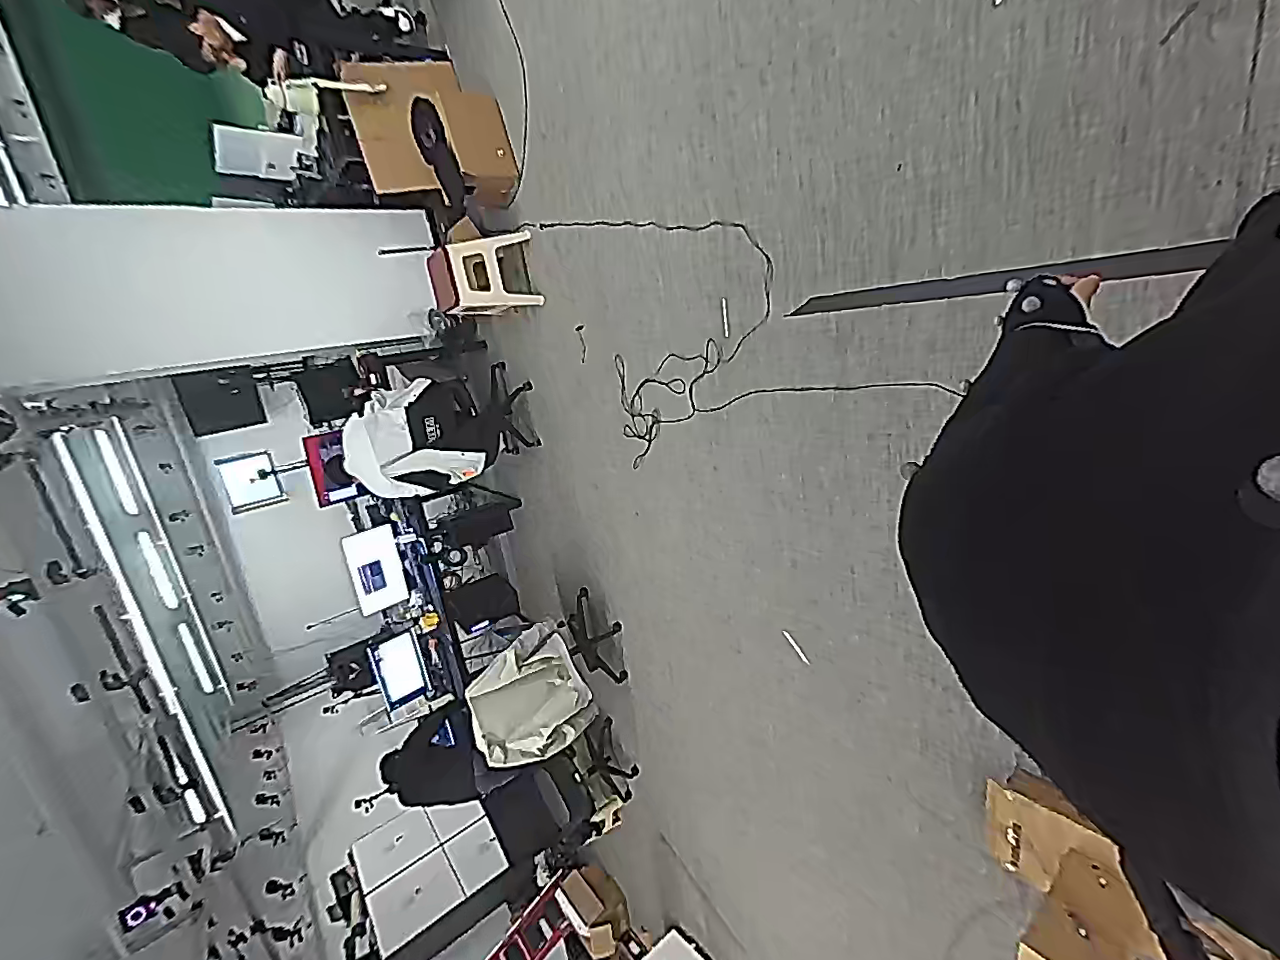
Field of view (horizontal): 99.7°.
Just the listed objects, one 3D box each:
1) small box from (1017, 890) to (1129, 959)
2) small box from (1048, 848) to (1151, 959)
[{"bbox_3d":[1.008,1.132,1.265,0.168,0.176,0.179,16,119,50],"label":"small box"},{"bbox_3d":[1.142,1.084,1.348,0.168,0.176,0.179,11,116,52],"label":"small box"}]
